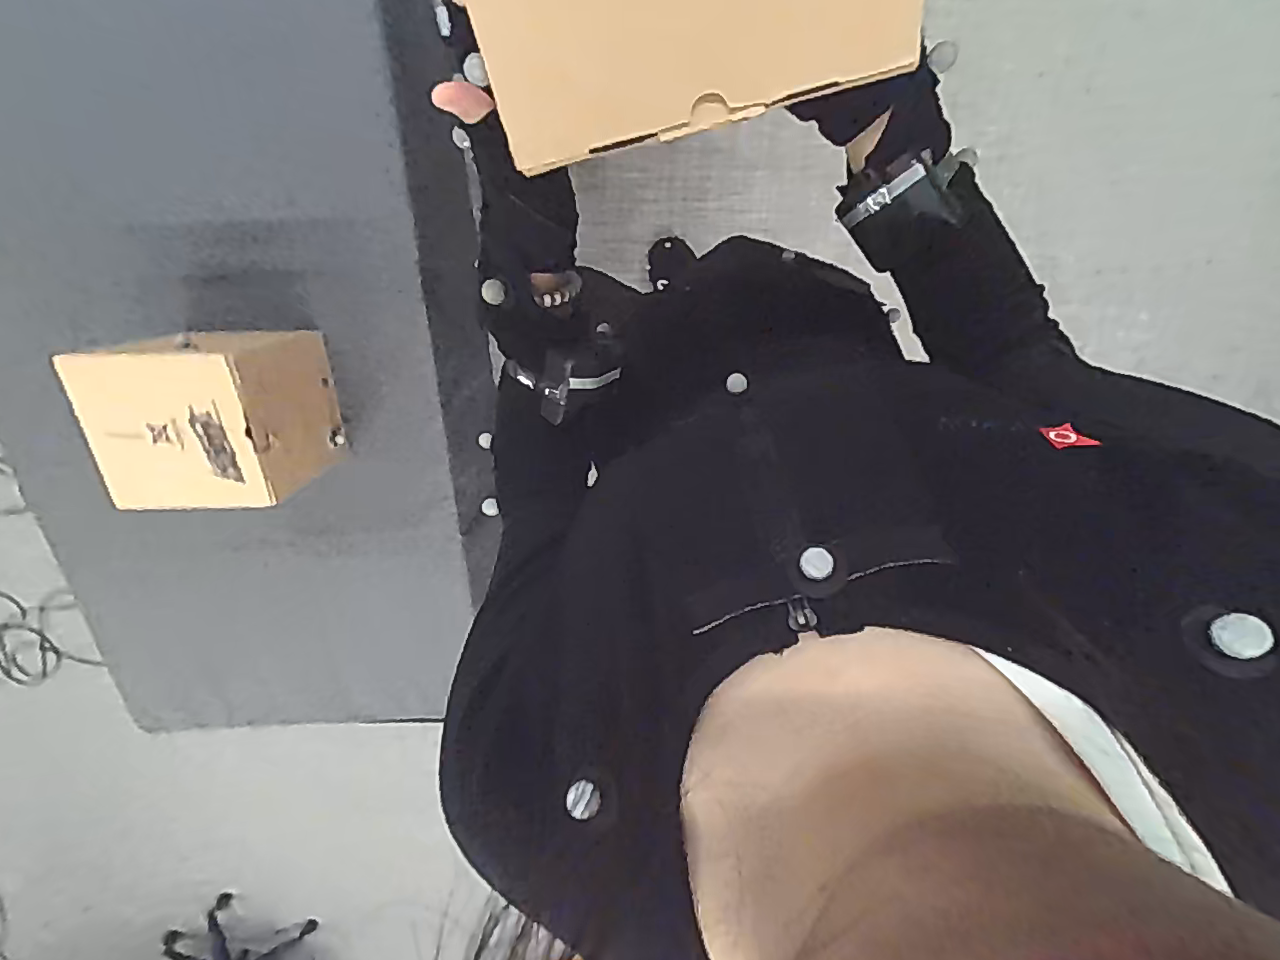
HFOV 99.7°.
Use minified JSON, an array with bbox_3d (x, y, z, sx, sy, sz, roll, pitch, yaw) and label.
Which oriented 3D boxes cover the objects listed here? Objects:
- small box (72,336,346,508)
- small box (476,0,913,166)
[{"bbox_3d":[-0.477,-0.076,0.640,0.179,0.176,0.168,-1,112,2],"label":"small box"},{"bbox_3d":[0.009,-0.266,0.243,0.168,0.176,0.179,-11,126,8],"label":"small box"}]
